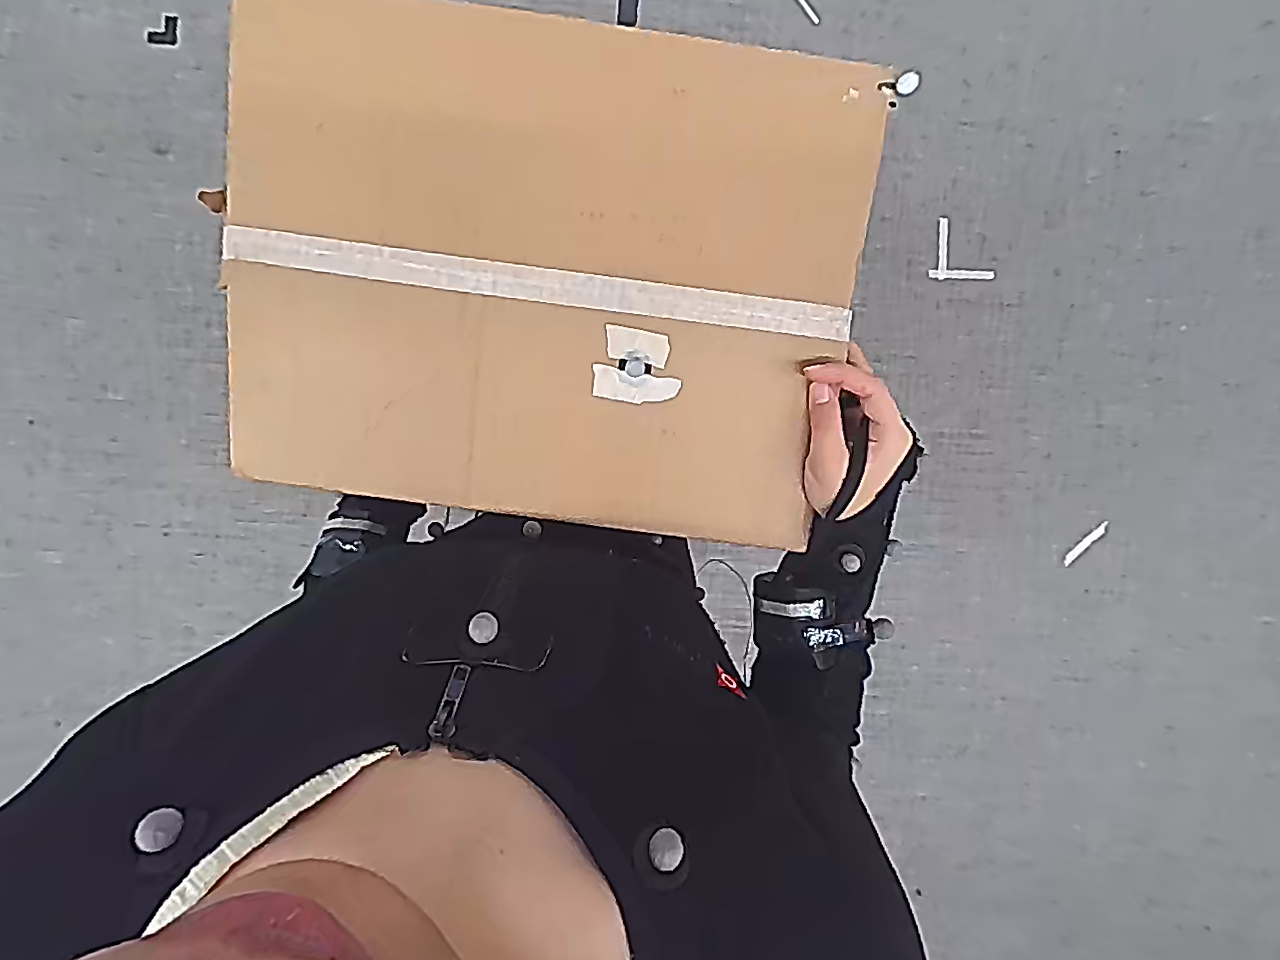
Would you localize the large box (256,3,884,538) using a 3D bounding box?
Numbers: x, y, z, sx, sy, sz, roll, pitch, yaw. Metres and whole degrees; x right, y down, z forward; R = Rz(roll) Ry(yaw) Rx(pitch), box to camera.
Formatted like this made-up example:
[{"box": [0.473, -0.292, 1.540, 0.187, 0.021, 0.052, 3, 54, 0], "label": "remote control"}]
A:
[{"box": [-0.059, -0.150, 0.511, 0.408, 0.320, 0.320, 7, 100, -2], "label": "large box"}]
